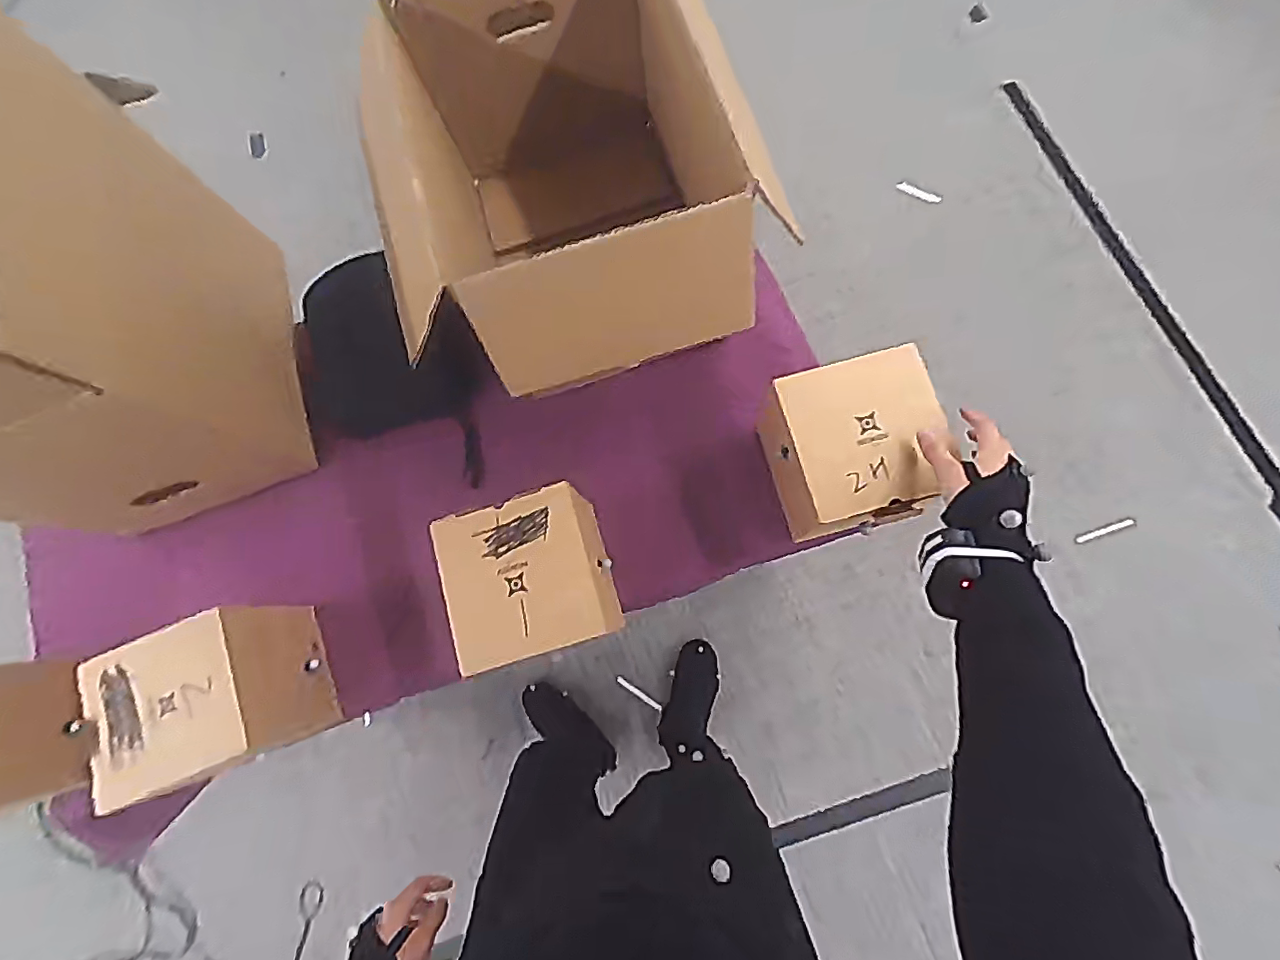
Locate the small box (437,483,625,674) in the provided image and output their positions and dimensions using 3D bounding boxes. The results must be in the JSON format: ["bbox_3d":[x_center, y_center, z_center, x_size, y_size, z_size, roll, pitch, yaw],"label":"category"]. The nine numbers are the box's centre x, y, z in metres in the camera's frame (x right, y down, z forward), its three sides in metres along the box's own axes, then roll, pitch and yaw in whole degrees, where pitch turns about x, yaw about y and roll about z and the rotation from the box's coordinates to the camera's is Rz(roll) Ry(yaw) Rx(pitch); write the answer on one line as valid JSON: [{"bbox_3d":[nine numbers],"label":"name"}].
[{"bbox_3d":[-0.125,0.122,0.672,0.168,0.176,0.179,-17,77,2],"label":"small box"}]

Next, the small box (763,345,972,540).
[{"bbox_3d":[0.259,-0.035,0.668,0.168,0.176,0.179,-15,76,3],"label":"small box"}]

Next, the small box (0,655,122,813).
[{"bbox_3d":[-0.830,0.336,0.690,0.179,0.176,0.168,-21,77,-1],"label":"small box"}]
